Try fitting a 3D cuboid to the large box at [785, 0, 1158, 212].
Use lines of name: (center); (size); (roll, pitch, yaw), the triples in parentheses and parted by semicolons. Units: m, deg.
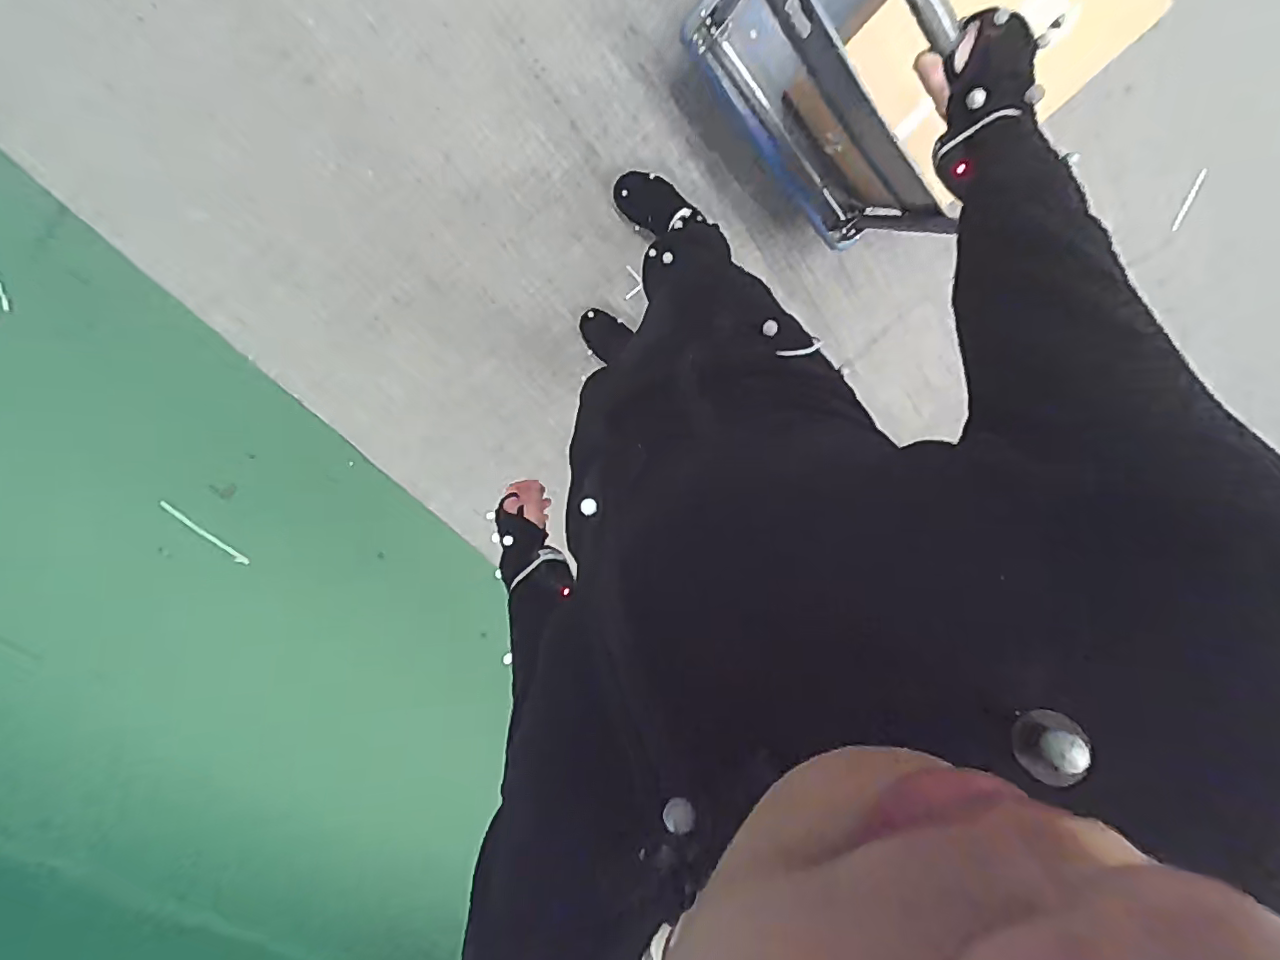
large box: (0.537, -0.751, 0.961); (0.408, 0.320, 0.320); (-41, 112, 18)
